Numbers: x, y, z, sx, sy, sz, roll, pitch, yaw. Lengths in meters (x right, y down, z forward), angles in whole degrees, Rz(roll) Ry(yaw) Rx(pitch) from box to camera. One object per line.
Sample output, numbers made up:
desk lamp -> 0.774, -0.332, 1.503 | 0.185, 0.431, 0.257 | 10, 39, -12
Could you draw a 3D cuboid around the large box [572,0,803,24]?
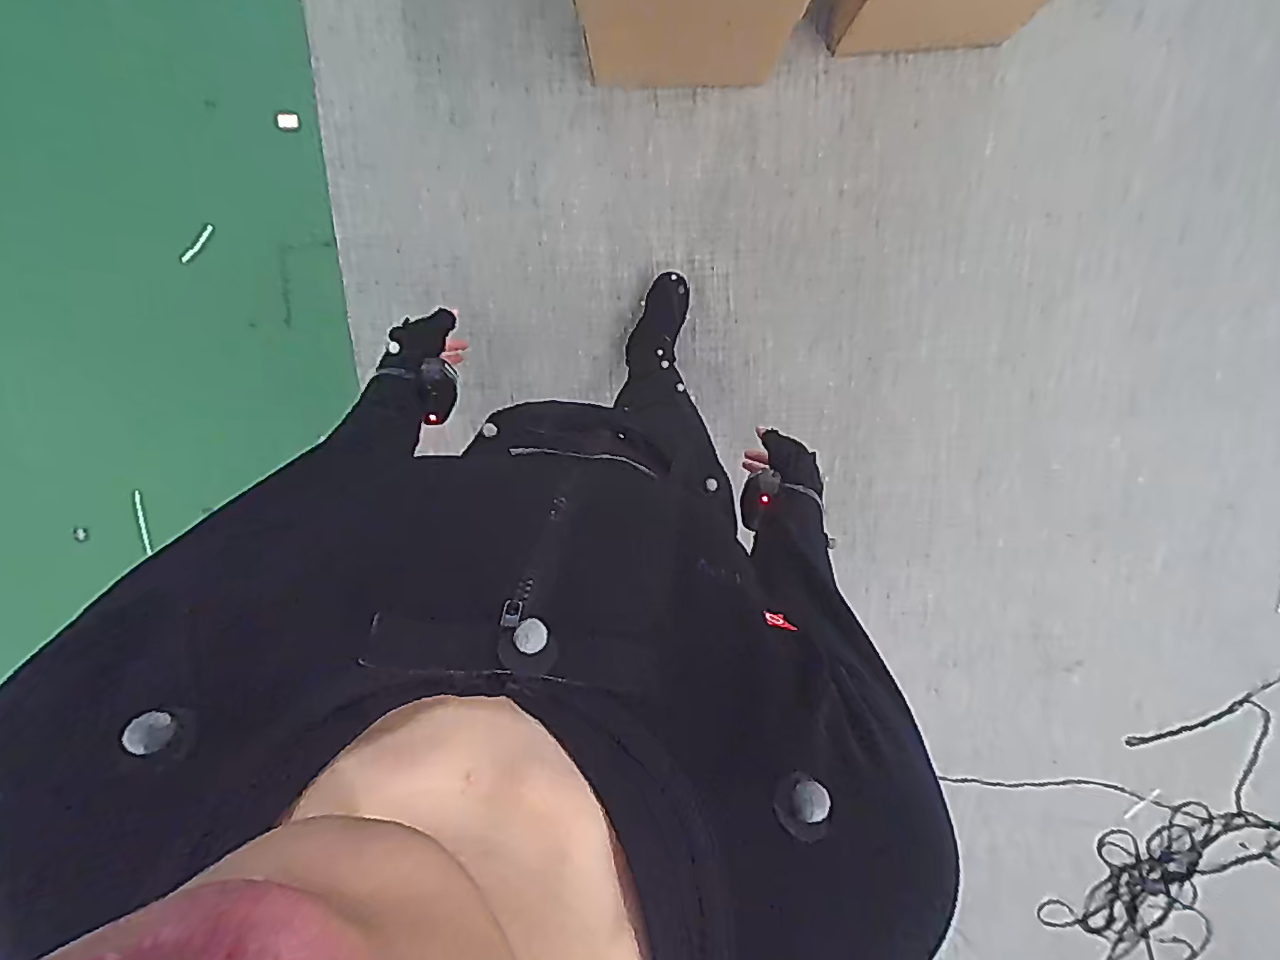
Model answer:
large box -> 0.079, -0.932, 0.789 | 0.408, 0.320, 0.320 | -1, 104, 1
